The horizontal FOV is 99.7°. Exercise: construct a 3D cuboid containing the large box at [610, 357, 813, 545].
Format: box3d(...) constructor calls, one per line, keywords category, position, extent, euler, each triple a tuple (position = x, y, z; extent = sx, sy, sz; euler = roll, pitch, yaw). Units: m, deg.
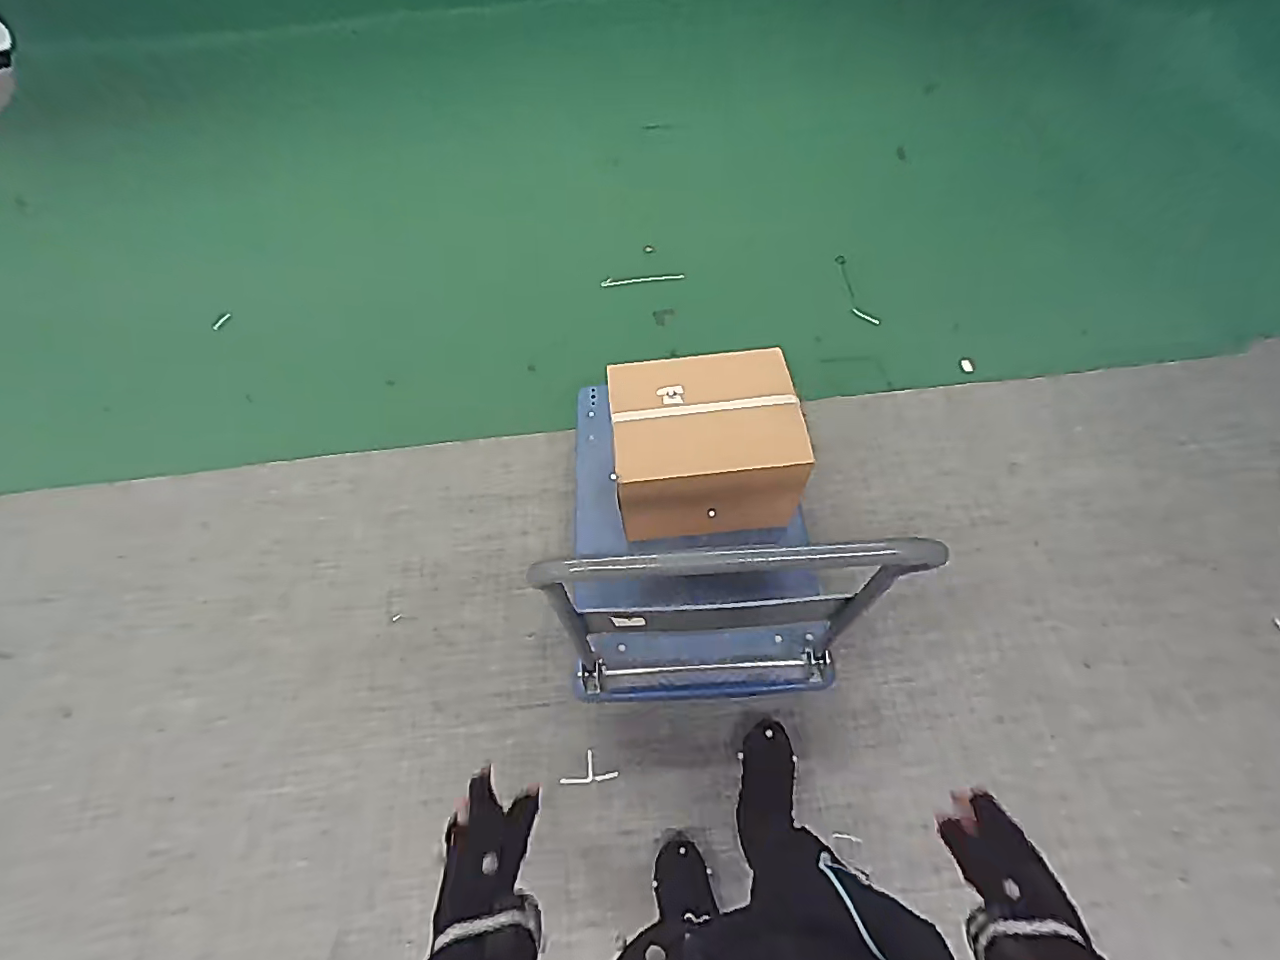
box3d(category="large box", position=(0.153, -0.058, 1.303), extent=(0.408, 0.320, 0.320), euler=(-7, 59, 0))
